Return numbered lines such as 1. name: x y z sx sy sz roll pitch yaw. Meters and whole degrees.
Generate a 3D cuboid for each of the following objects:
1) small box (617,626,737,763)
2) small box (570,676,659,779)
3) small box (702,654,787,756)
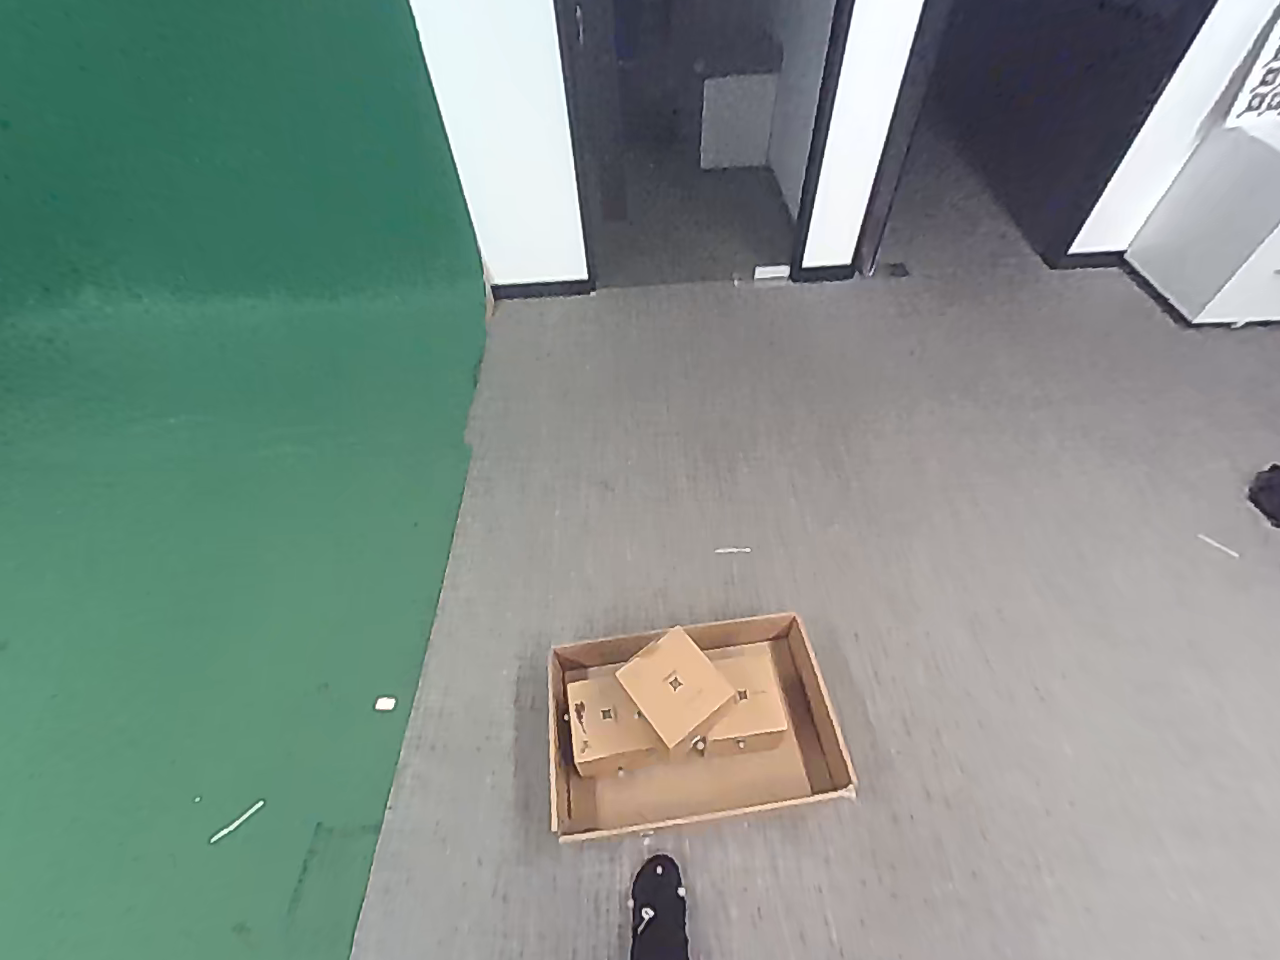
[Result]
1. small box: 0.071 0.441 1.104 0.168 0.176 0.179 -33 58 -21
2. small box: -0.058 0.557 1.224 0.179 0.176 0.168 -8 50 -6
3. small box: 0.221 0.519 1.238 0.179 0.176 0.168 -7 51 -2
